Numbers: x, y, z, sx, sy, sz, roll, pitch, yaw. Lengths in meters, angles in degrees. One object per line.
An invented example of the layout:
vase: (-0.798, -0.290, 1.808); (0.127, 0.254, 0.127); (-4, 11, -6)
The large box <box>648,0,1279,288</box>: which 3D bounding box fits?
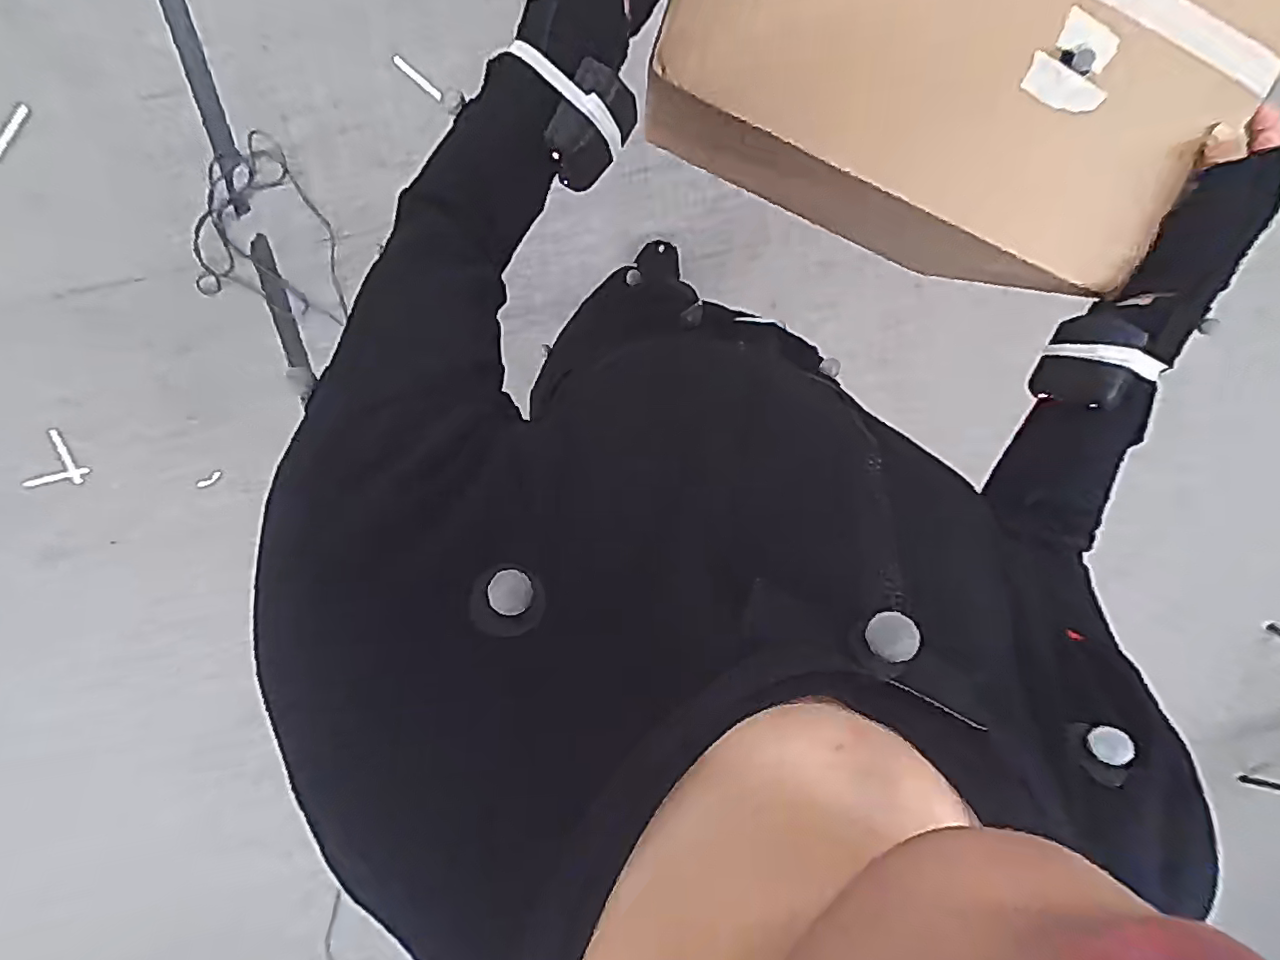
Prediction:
large box: (0.248, -0.413, 0.495); (0.408, 0.320, 0.320); (20, 114, -10)
